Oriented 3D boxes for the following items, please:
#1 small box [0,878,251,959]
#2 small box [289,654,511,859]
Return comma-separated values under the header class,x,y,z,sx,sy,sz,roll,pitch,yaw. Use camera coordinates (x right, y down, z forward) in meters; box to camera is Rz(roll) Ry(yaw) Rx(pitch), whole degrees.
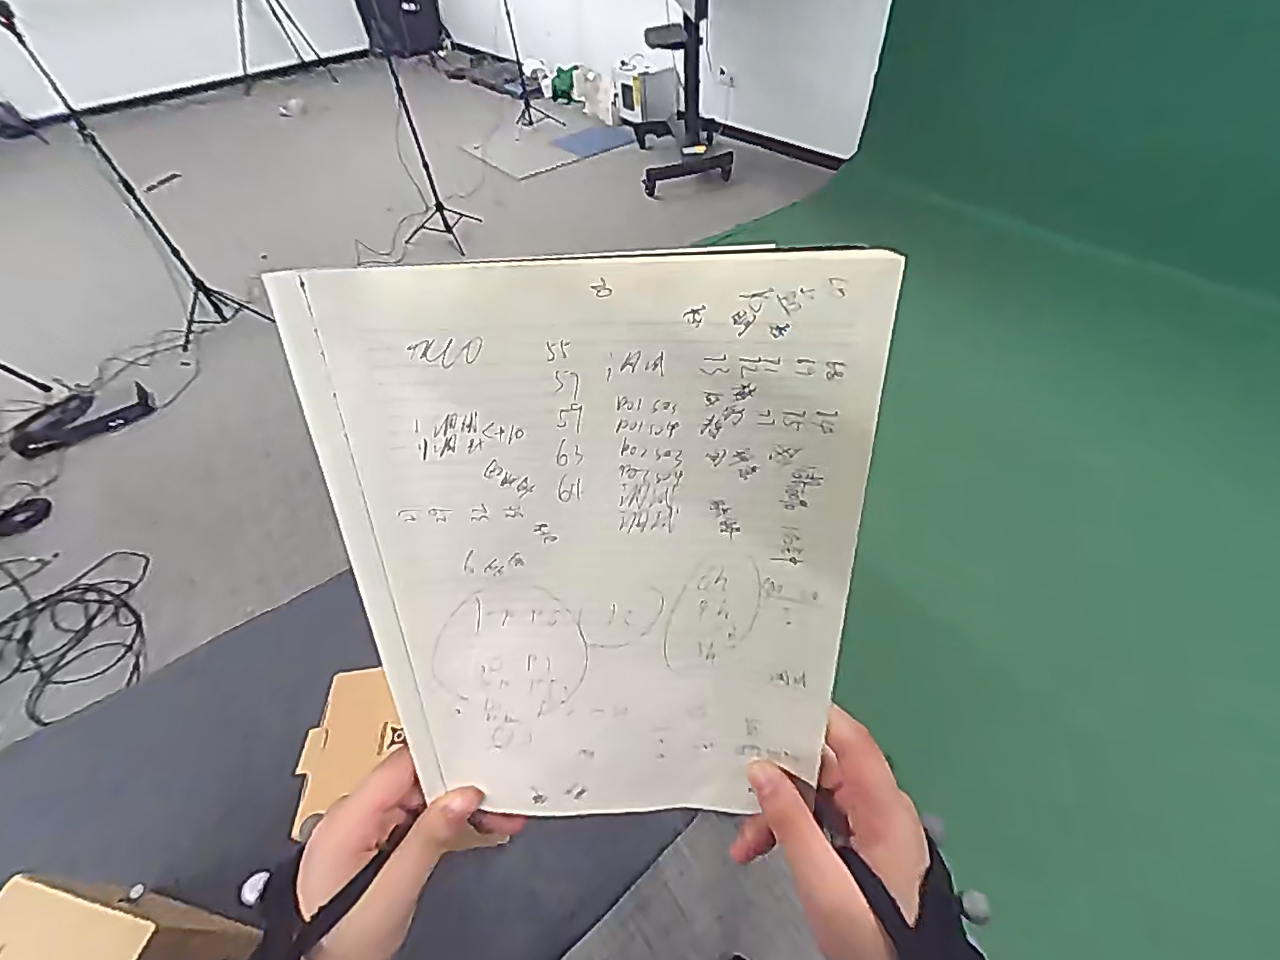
class,x,y,z,sx,sy,sz,roll,pitch,yaw
small box,-0.524,0.499,0.503,0.179,0.176,0.168,7,49,11
small box,-0.256,0.325,0.633,0.179,0.176,0.168,-9,48,-1
